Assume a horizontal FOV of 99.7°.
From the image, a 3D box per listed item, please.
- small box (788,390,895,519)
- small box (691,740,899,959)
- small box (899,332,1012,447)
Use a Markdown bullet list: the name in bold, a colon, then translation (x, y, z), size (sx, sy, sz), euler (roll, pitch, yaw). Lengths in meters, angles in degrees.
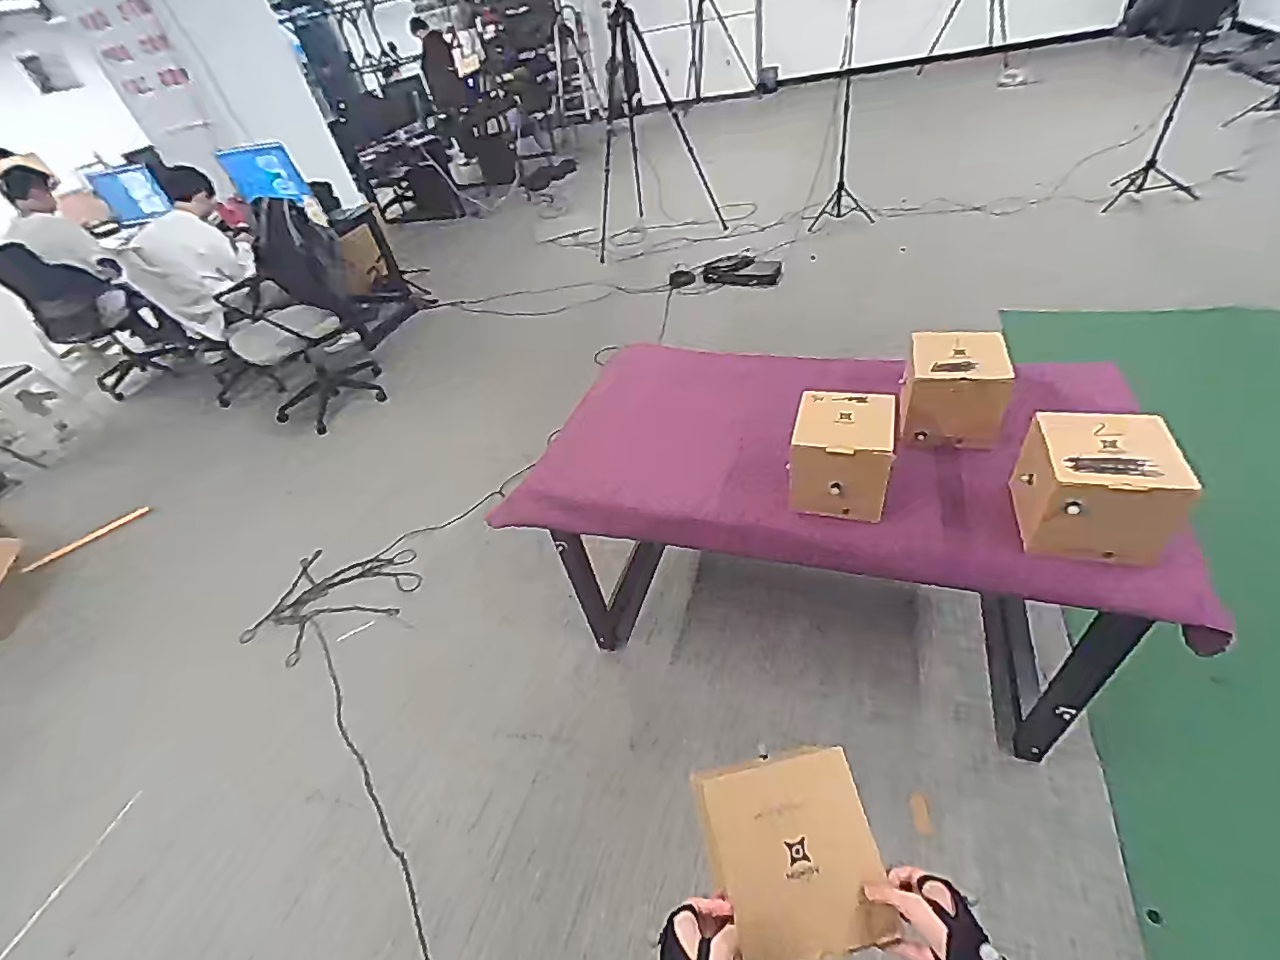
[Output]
- **small box**: translation (0.376, -0.048, 1.015), size (0.168, 0.176, 0.179), euler (7, 45, 21)
- **small box**: translation (0.161, 0.414, 0.632), size (0.168, 0.176, 0.179), euler (-10, 65, -5)
- **small box**: translation (0.632, -0.184, 1.101), size (0.168, 0.176, 0.179), euler (6, 44, 19)
